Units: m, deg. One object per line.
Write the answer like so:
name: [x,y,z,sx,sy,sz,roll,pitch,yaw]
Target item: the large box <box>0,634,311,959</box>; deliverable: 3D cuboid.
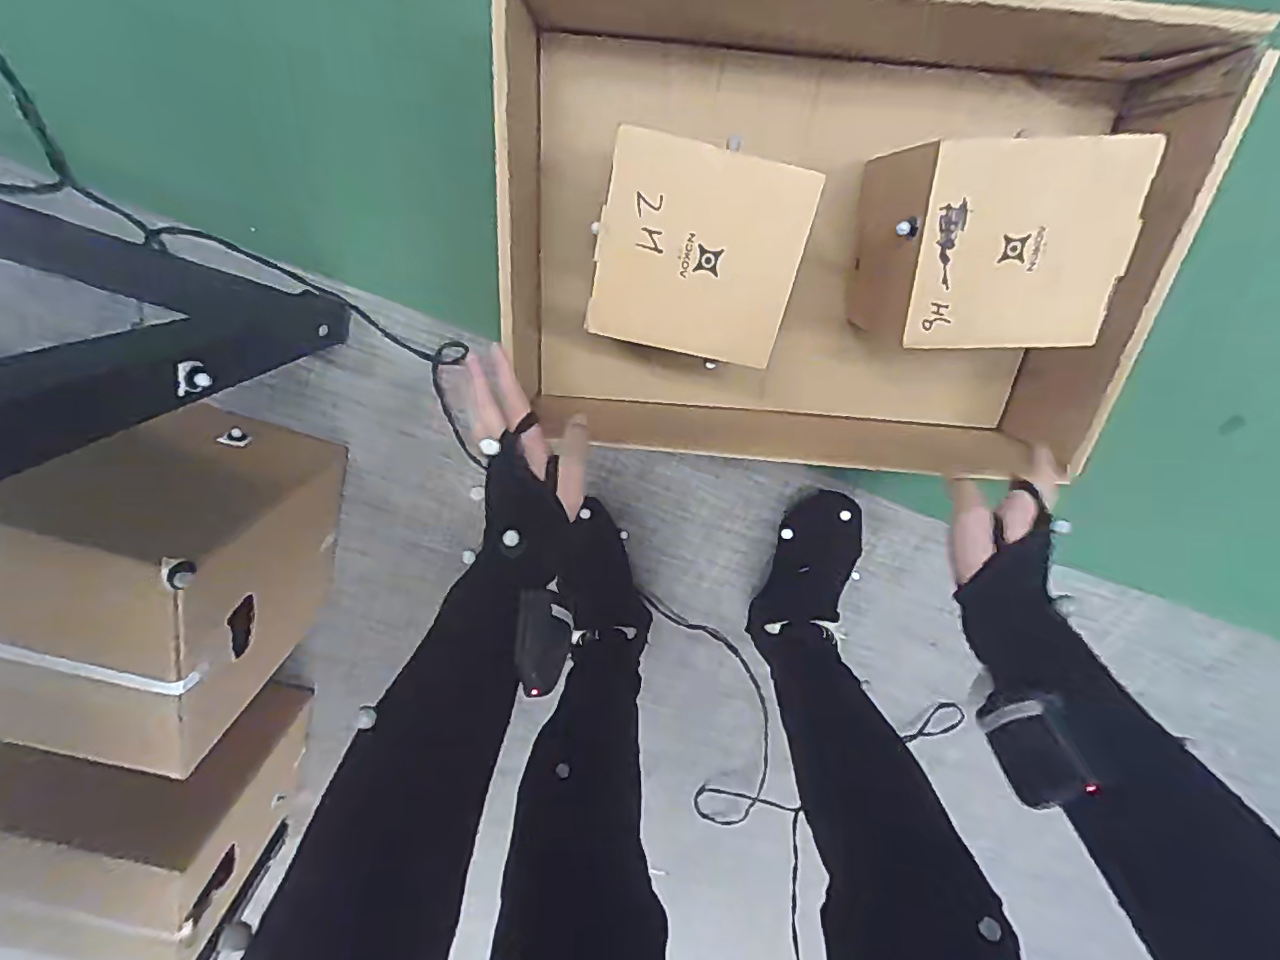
large box: [-0.824,0.511,0.873,0.408,0.320,0.320,20,113,-6]
